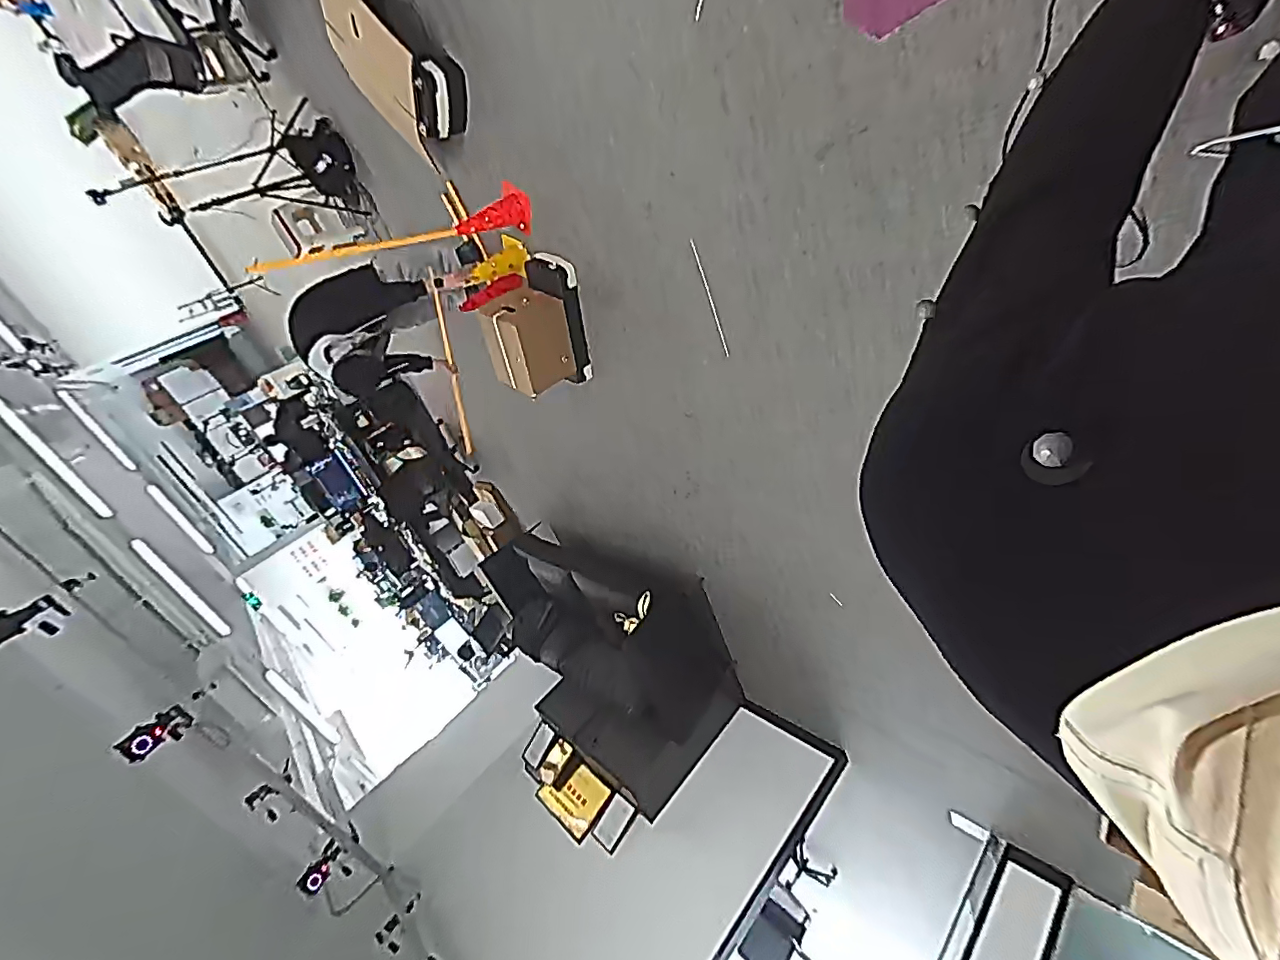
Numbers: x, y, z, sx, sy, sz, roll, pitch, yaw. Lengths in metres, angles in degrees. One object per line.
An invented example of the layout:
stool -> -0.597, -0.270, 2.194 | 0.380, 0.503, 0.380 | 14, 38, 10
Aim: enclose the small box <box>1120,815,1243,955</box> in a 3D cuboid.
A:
small box -> 1.281, 0.949, 1.281 | 0.179, 0.176, 0.168 | 16, 135, 47
